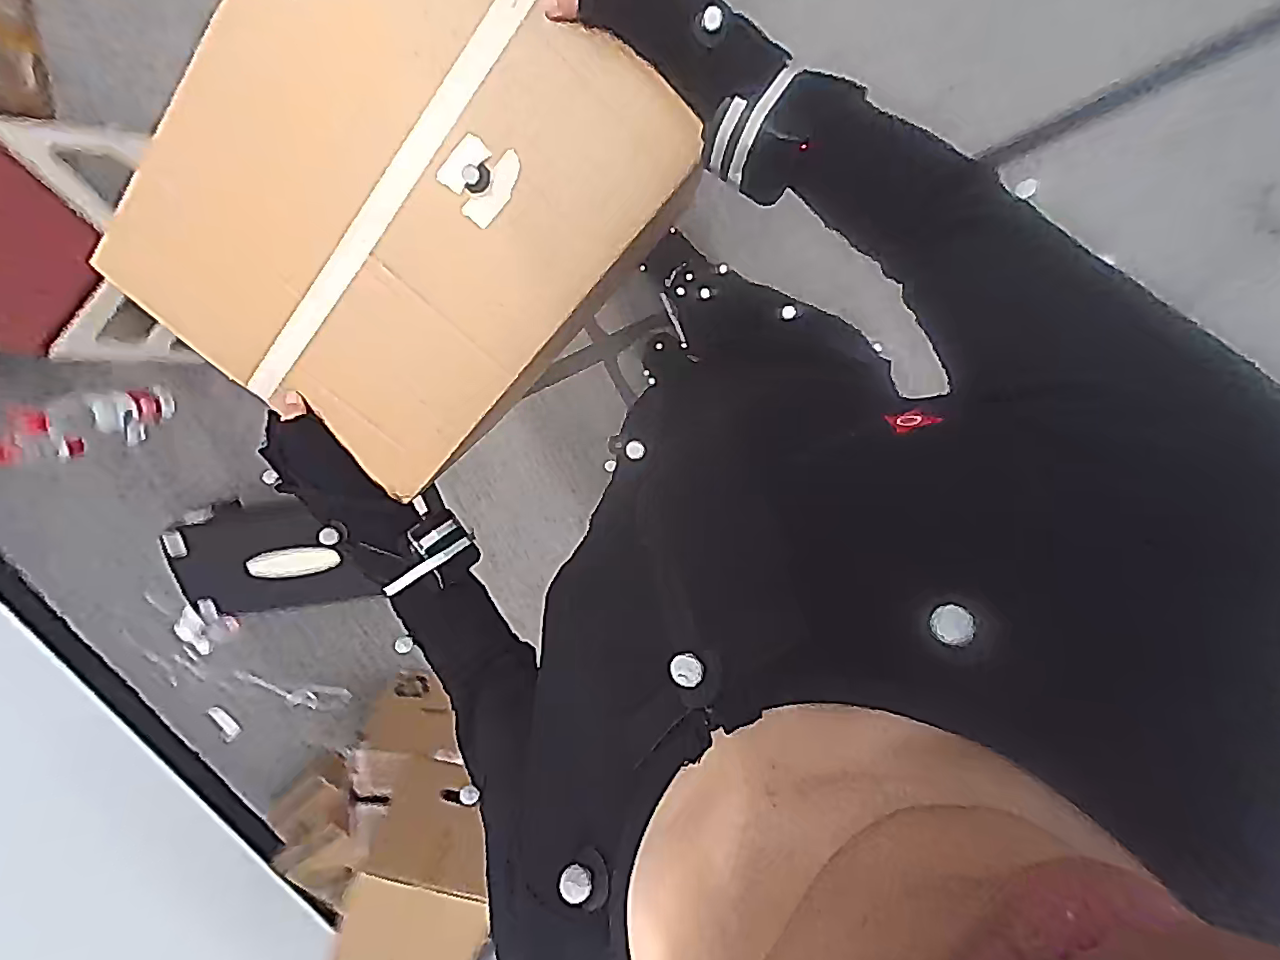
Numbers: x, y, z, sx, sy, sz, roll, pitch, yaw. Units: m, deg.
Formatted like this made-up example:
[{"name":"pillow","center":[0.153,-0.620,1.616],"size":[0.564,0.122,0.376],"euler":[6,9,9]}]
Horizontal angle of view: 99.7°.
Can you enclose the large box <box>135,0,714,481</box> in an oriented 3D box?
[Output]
[{"name":"large box","center":[-0.178,-0.276,0.570],"size":[0.320,0.320,0.408],"euler":[43,106,-12]}]
